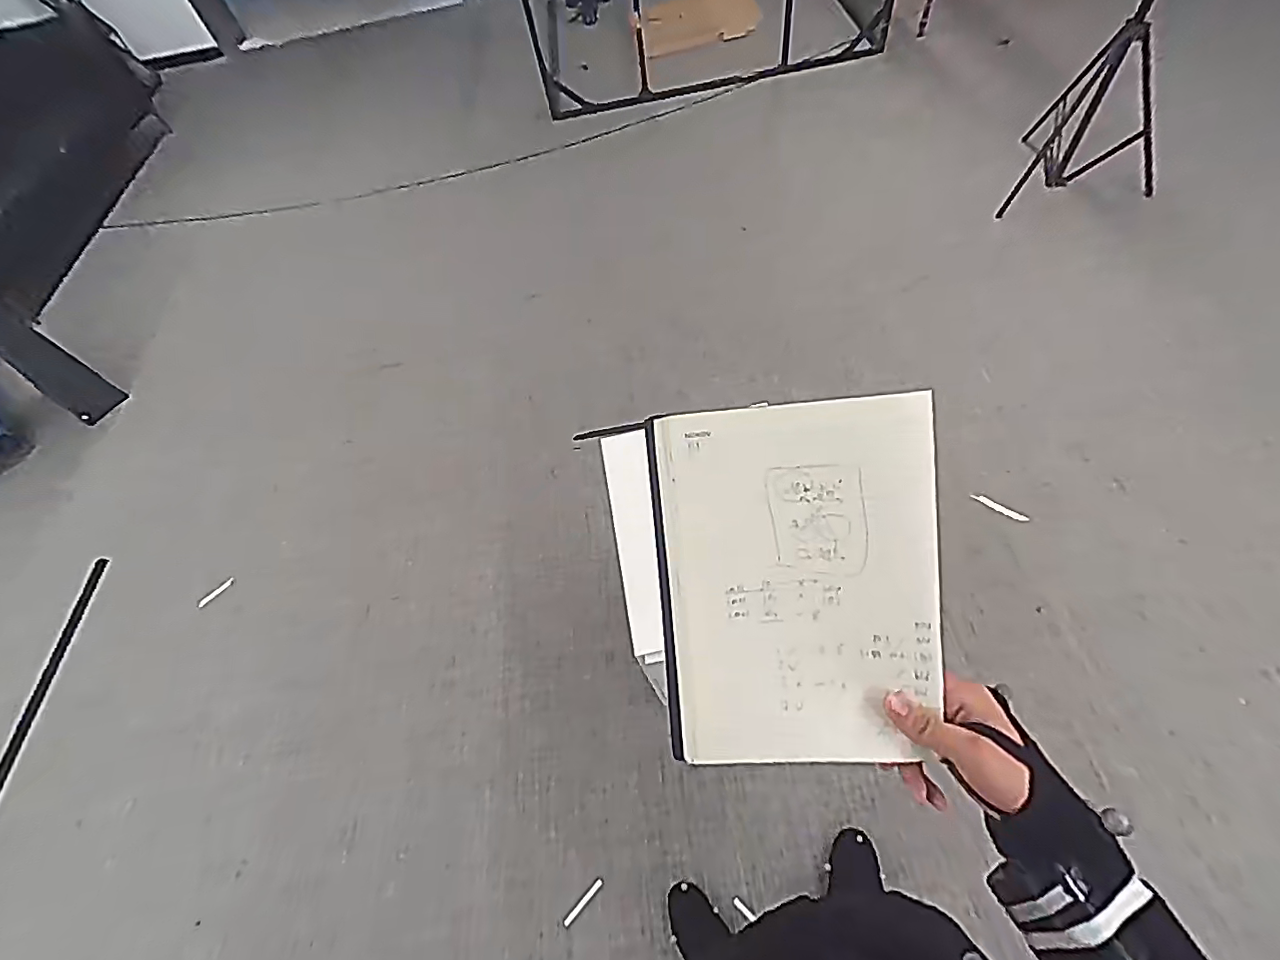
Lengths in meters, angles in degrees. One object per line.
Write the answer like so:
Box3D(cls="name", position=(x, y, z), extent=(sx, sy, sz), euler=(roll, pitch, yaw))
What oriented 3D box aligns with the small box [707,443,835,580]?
Box3D(cls="small box", position=(0.236, 0.064, 1.018), extent=(0.179, 0.176, 0.168), euler=(-20, 57, -2))
